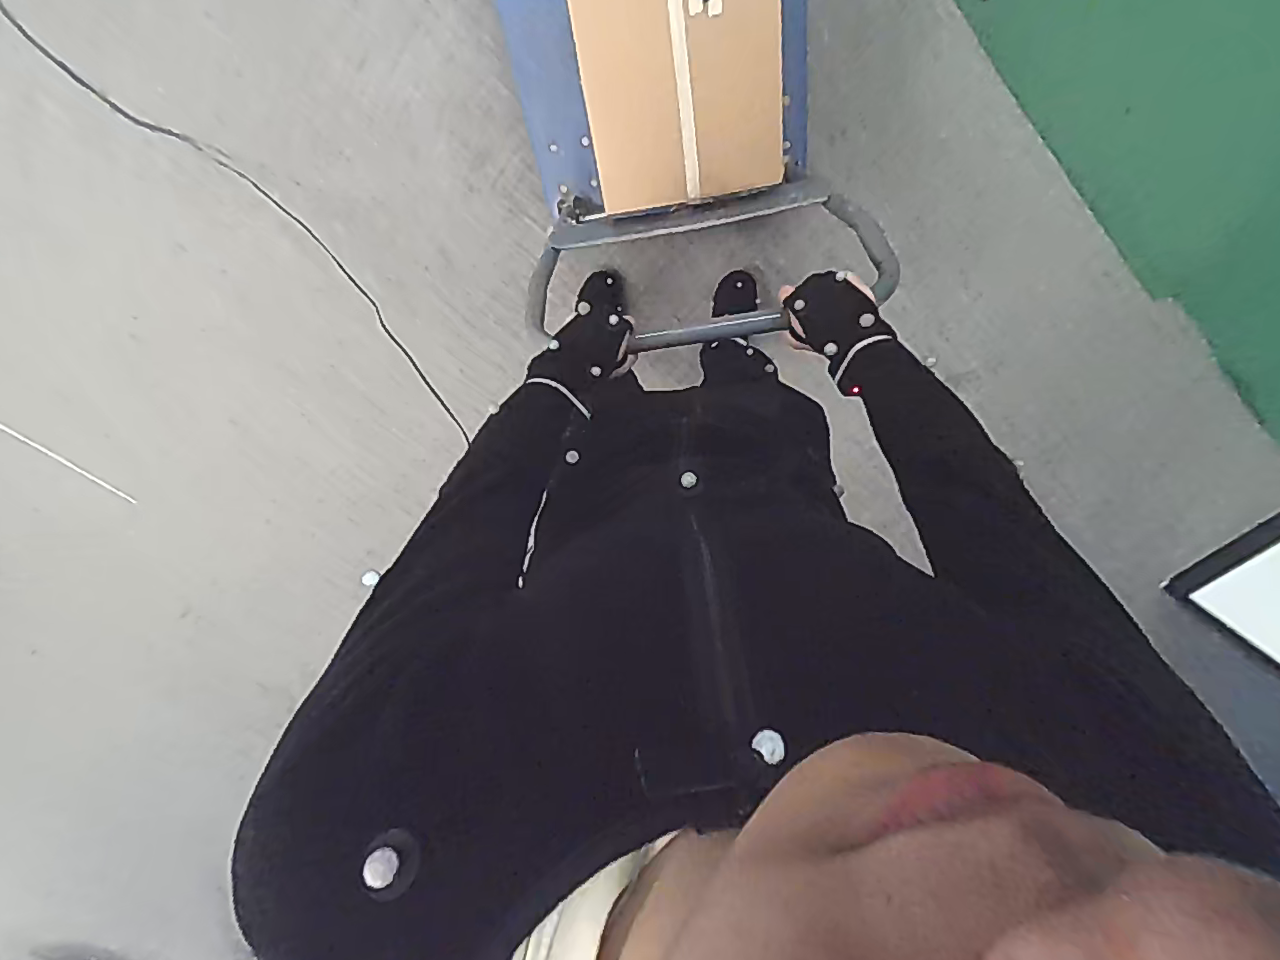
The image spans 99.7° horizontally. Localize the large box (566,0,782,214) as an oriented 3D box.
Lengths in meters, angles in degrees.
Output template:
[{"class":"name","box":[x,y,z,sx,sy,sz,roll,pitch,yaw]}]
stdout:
[{"class":"large box","box":[0.061,-0.737,0.962,0.320,0.320,0.408,-8,123,5]}]
